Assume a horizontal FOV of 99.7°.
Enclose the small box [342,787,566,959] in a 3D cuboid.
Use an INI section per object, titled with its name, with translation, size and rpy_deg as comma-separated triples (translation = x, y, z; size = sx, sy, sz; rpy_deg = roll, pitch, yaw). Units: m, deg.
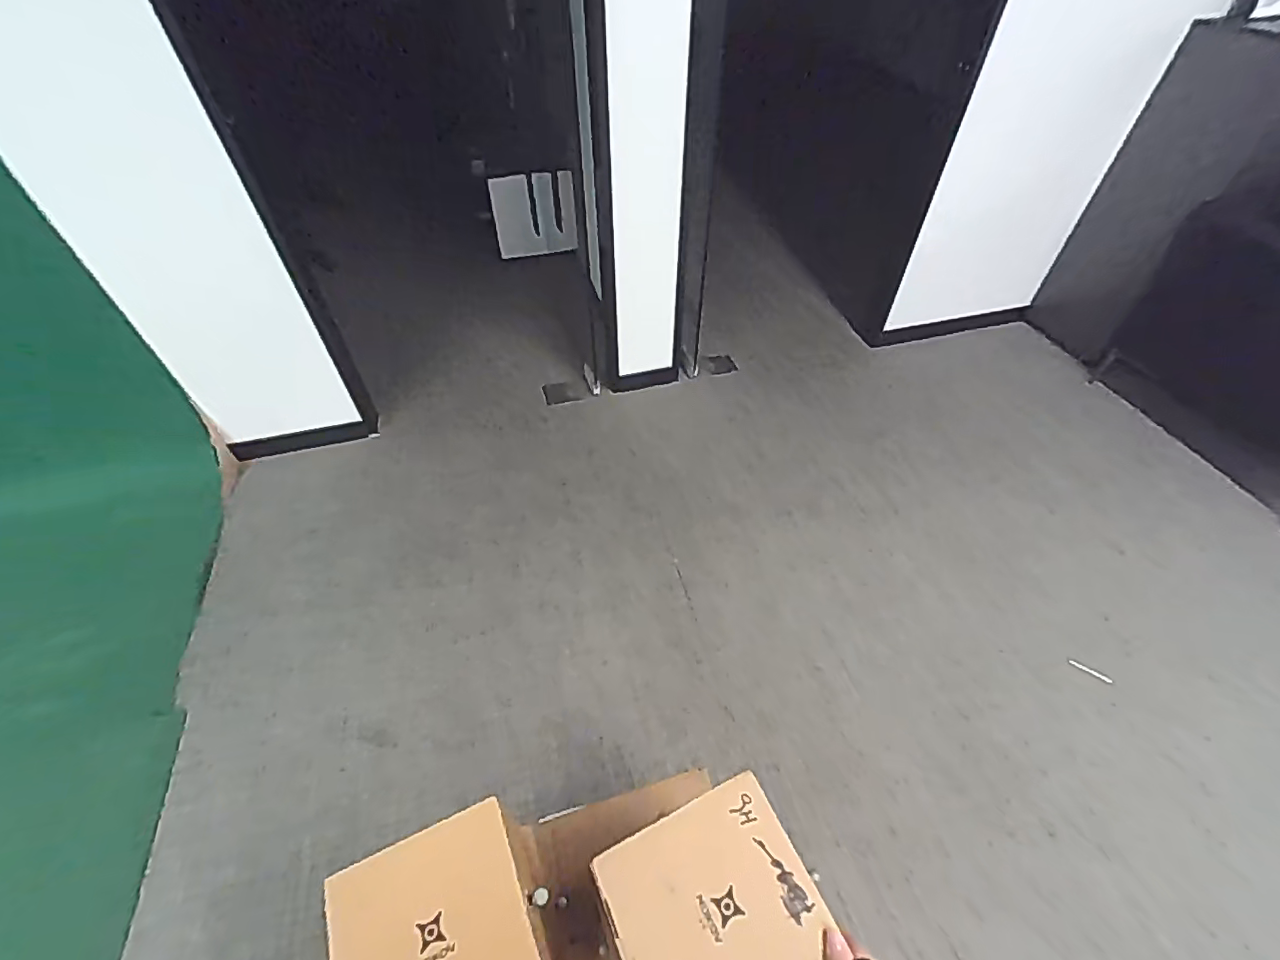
[small box]
translation = -0.179, 0.454, 0.548
size = 0.168, 0.176, 0.179
rpy_deg = -18, 53, -17
